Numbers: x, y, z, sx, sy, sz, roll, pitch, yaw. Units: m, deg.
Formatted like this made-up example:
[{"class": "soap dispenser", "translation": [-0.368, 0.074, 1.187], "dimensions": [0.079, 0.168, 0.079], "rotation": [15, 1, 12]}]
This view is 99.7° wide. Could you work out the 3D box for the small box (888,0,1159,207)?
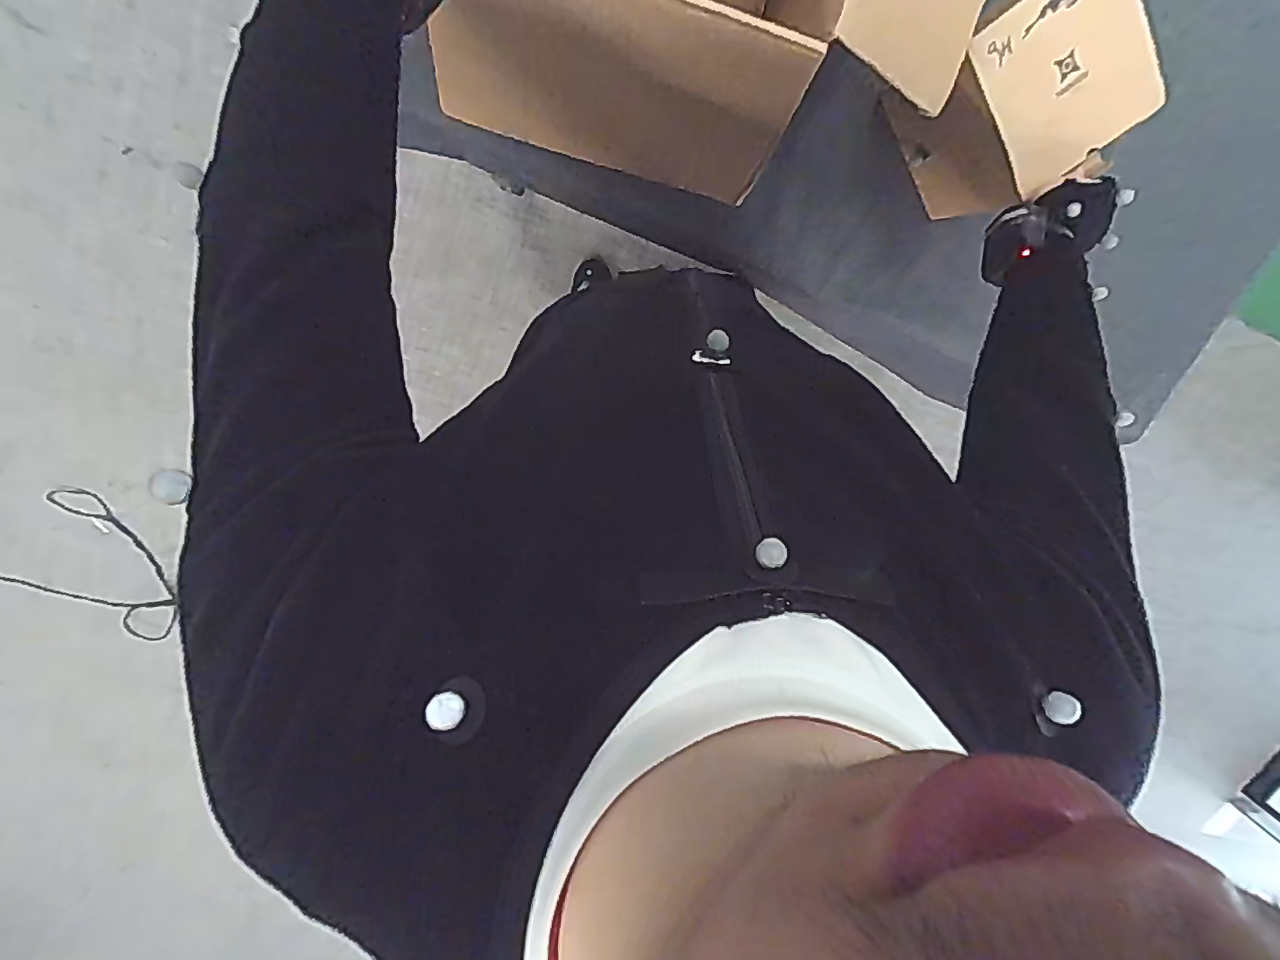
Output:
[{"class": "small box", "translation": [0.424, -0.441, 0.622], "dimensions": [0.168, 0.176, 0.179], "rotation": [-33, 112, 9]}]
